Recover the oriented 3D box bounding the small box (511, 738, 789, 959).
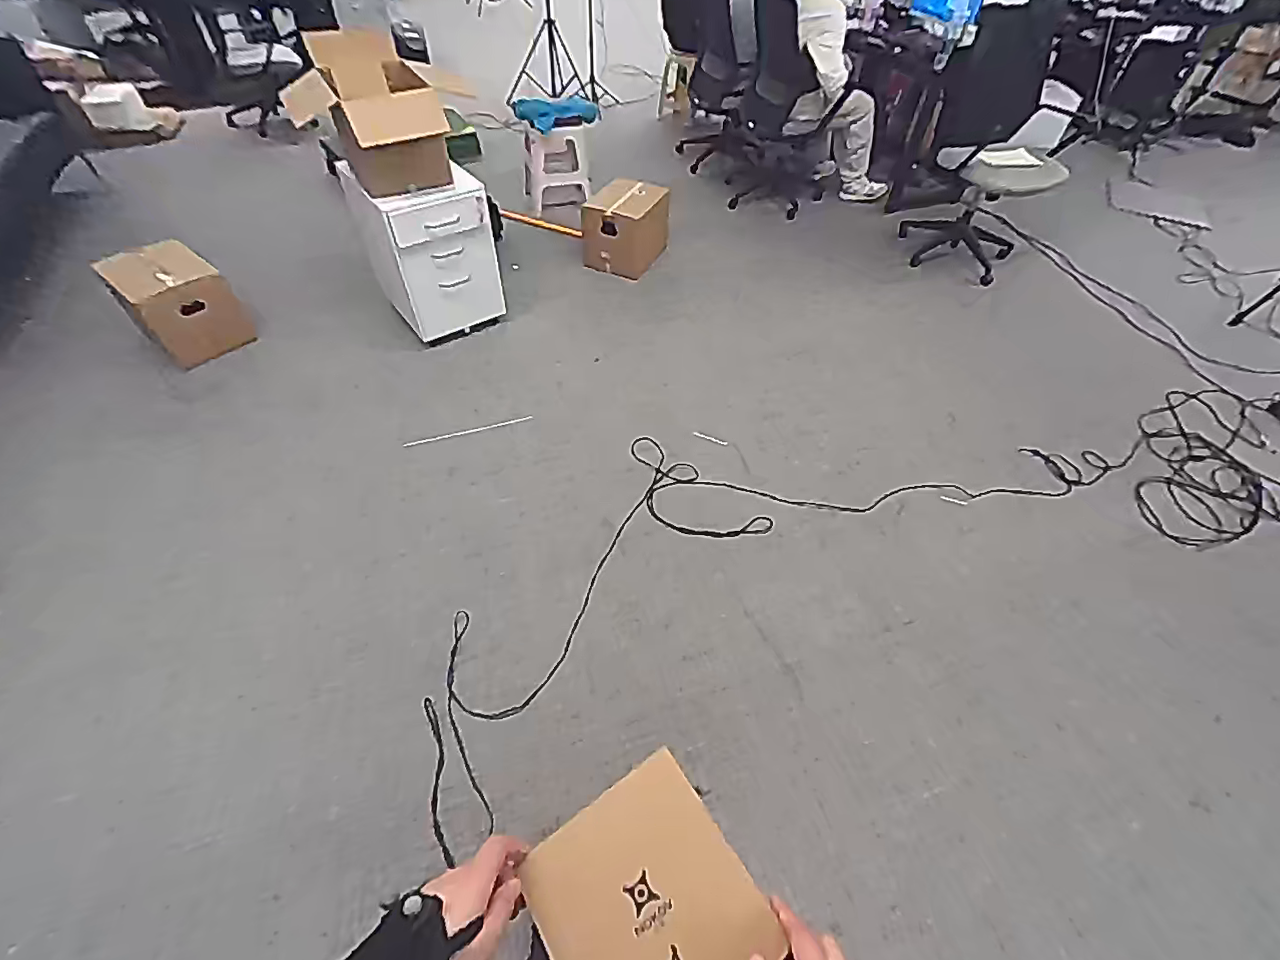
[{"bbox_3d":[0.012,0.379,0.501,0.168,0.176,0.179,-34,57,-13],"label":"small box"}]
